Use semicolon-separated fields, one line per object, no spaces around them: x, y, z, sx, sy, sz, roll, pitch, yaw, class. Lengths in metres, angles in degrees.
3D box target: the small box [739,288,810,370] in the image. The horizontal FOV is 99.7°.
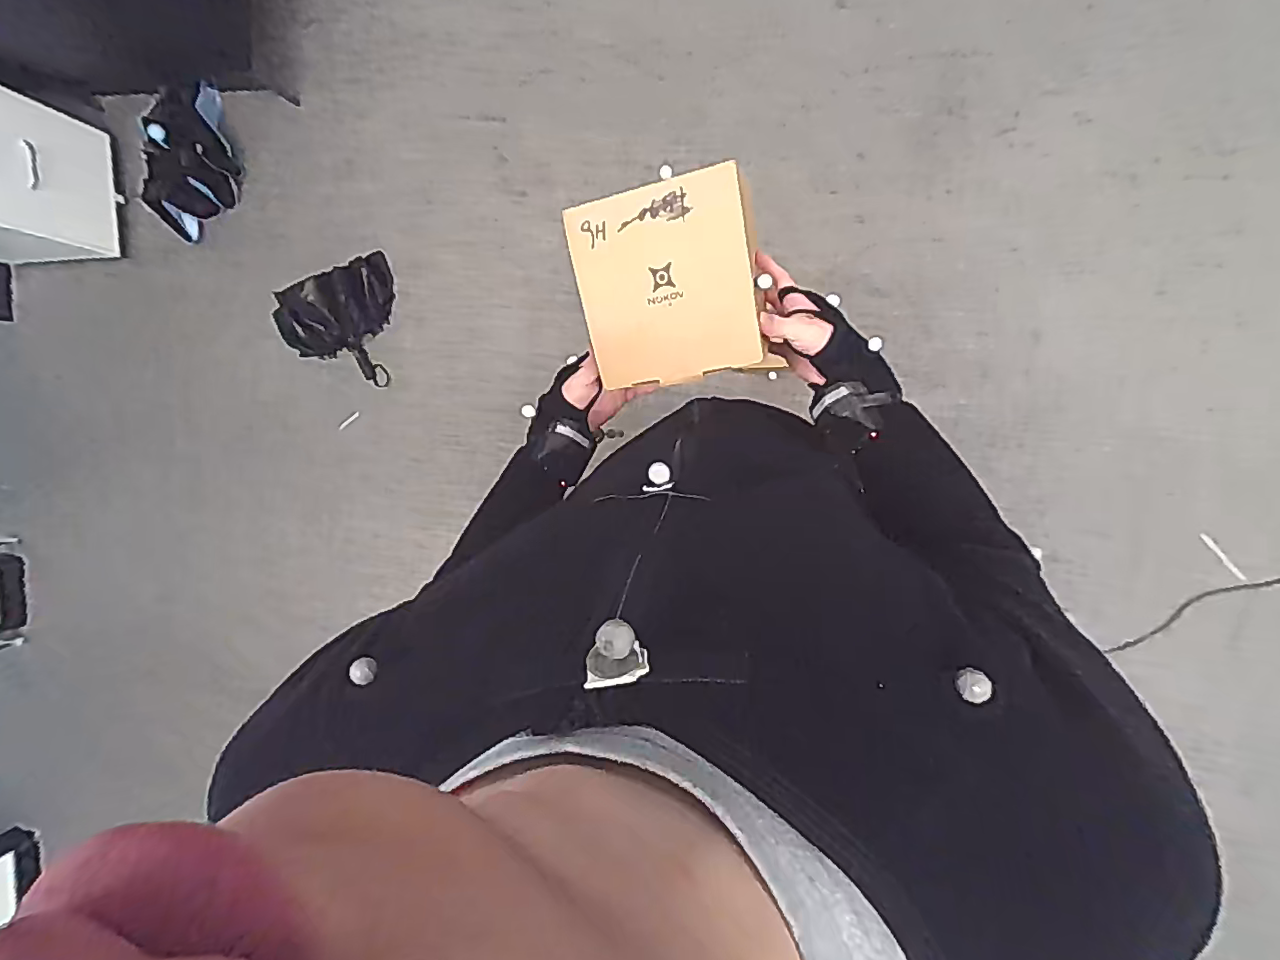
0.340;-0.379;1.381;0.168;0.176;0.179;1;98;13;small box
